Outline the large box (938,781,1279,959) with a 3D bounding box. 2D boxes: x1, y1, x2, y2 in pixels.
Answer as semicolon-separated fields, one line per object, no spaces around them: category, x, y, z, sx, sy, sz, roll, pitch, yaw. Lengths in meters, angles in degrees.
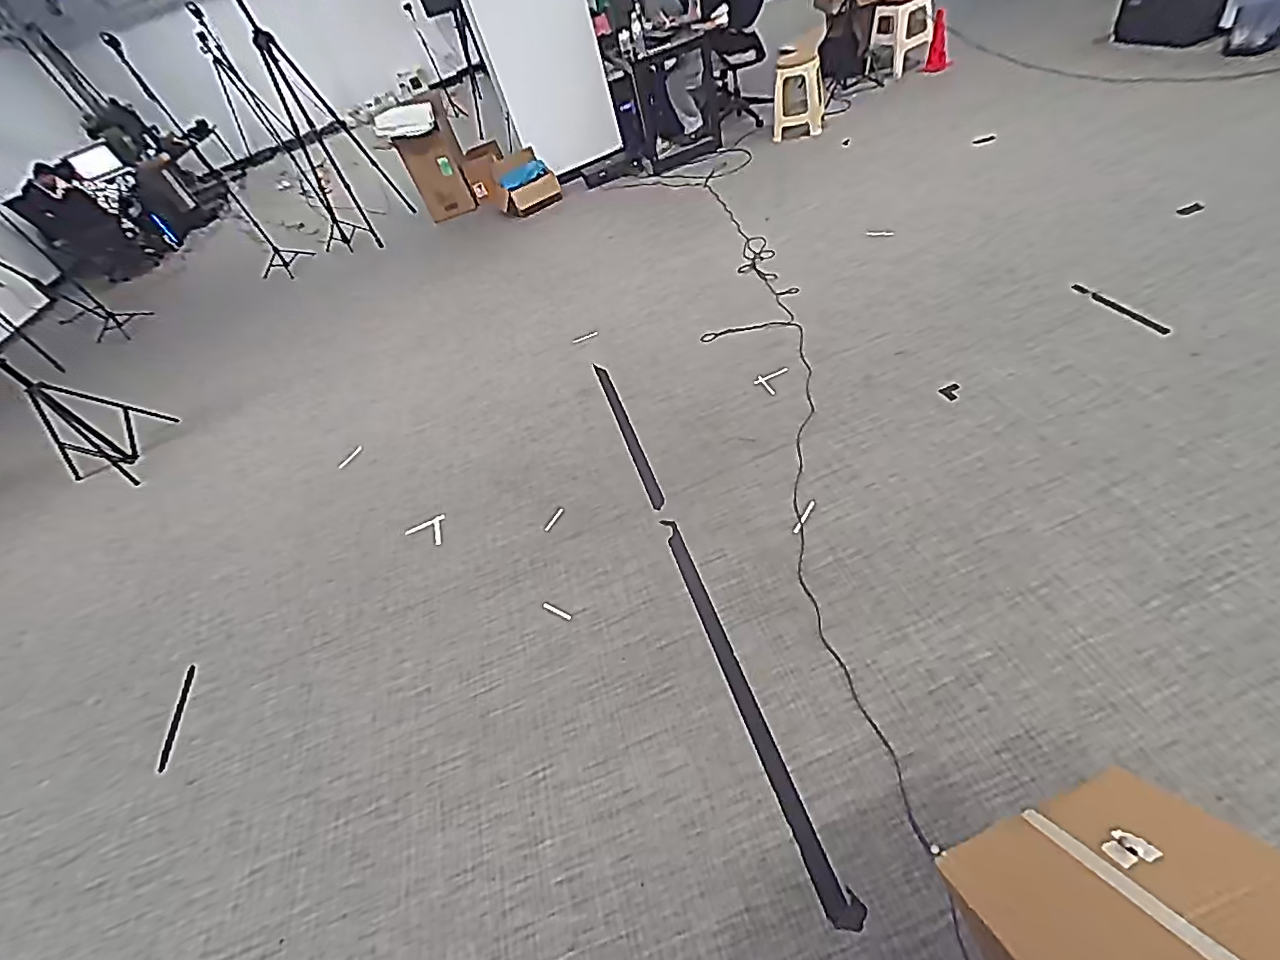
large box;0.639;0.626;0.594;0.320;0.408;0.320;-24;83;-1
